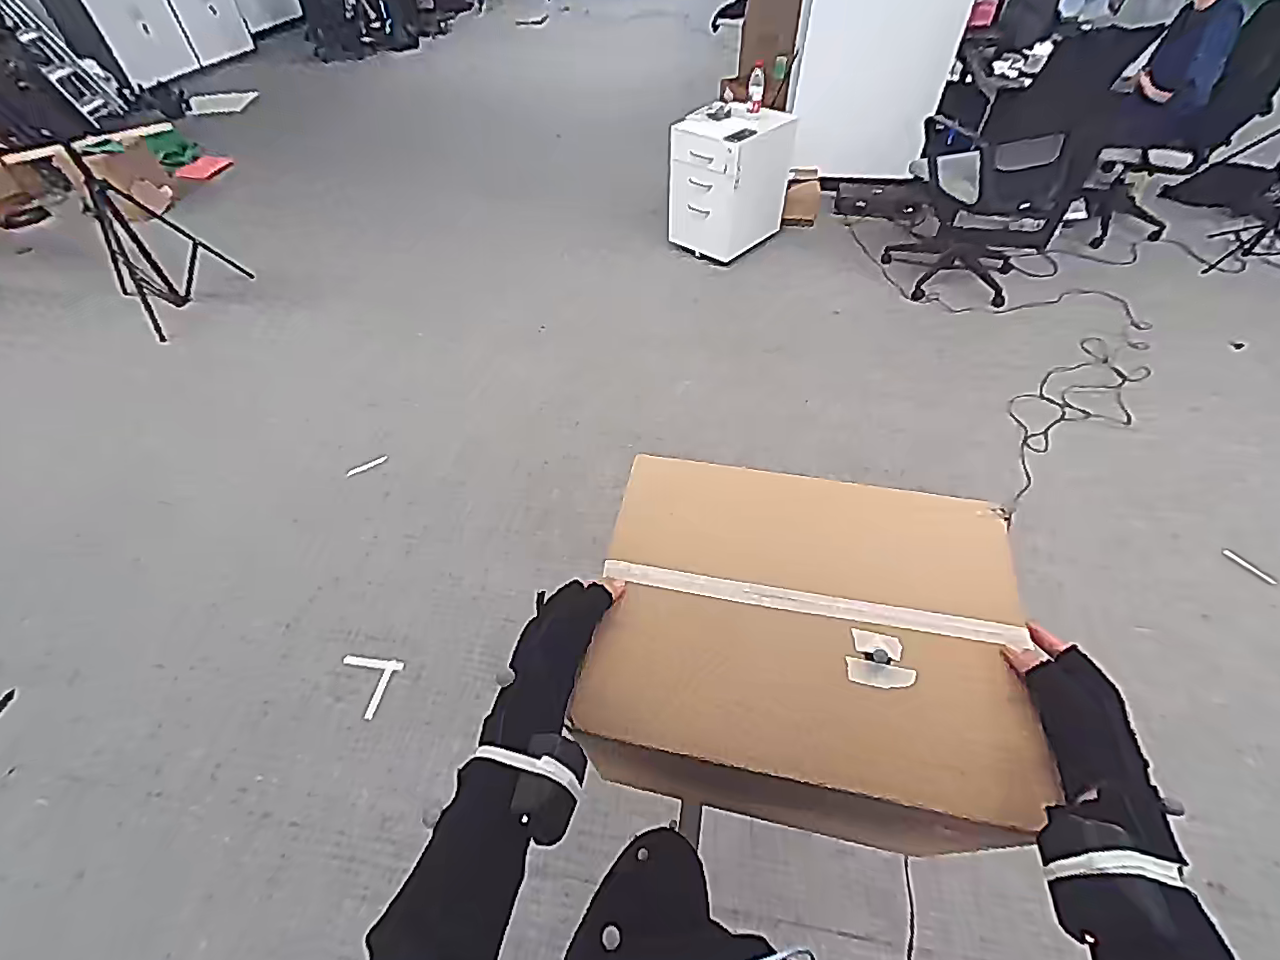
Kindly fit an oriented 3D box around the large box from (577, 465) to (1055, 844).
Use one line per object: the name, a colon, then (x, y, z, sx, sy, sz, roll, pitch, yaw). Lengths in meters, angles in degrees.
large box: (0.168, 0.214, 0.658, 0.408, 0.320, 0.320, 8, 56, 9)
